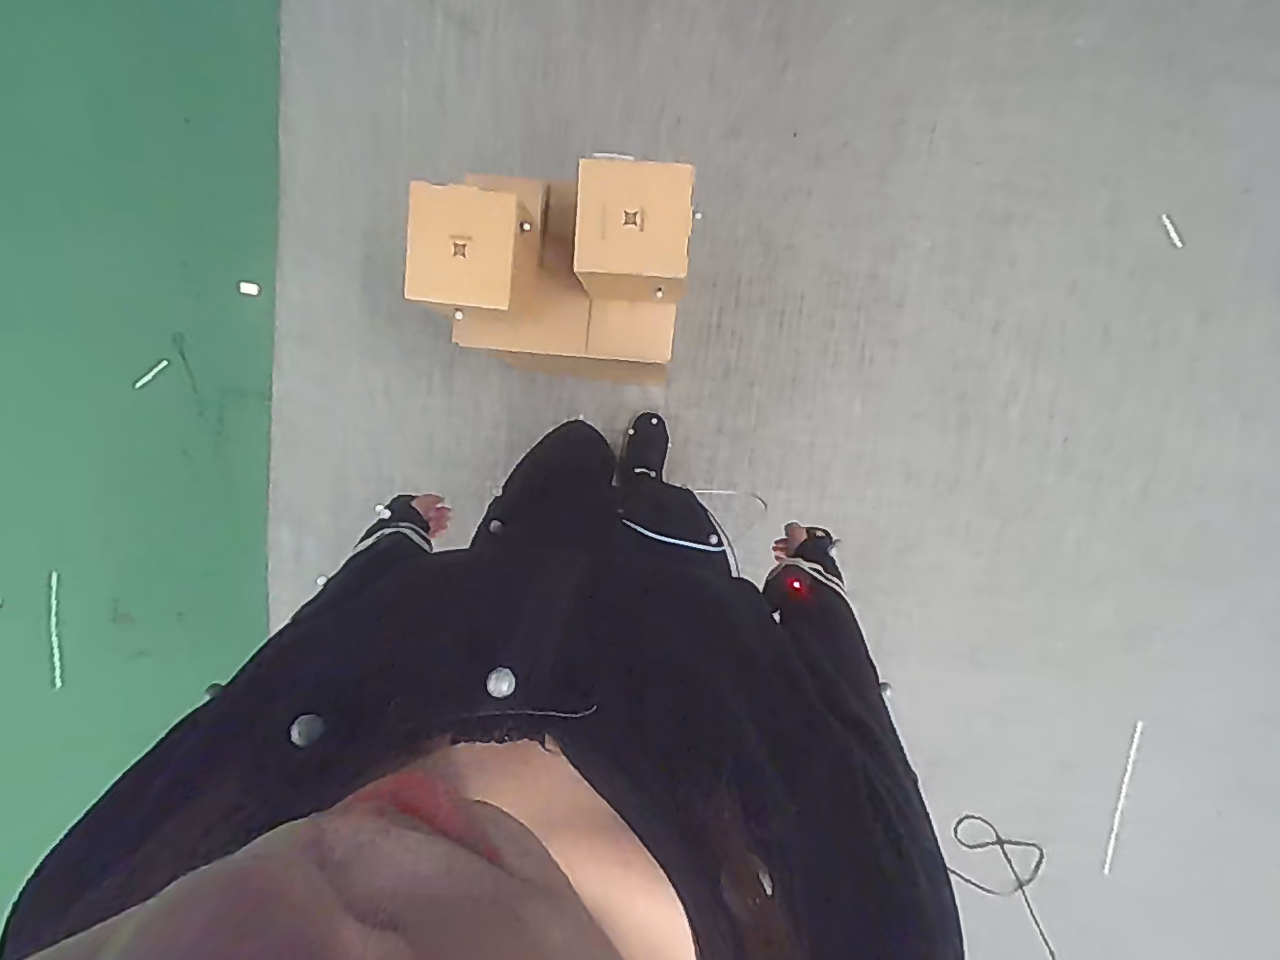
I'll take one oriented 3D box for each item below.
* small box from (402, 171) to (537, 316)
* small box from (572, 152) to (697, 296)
[{"bbox_3d":[-0.274,-0.378,0.898,0.168,0.176,0.179,7,99,0],"label":"small box"},{"bbox_3d":[-0.006,-0.406,0.885,0.179,0.176,0.168,6,97,3],"label":"small box"}]
